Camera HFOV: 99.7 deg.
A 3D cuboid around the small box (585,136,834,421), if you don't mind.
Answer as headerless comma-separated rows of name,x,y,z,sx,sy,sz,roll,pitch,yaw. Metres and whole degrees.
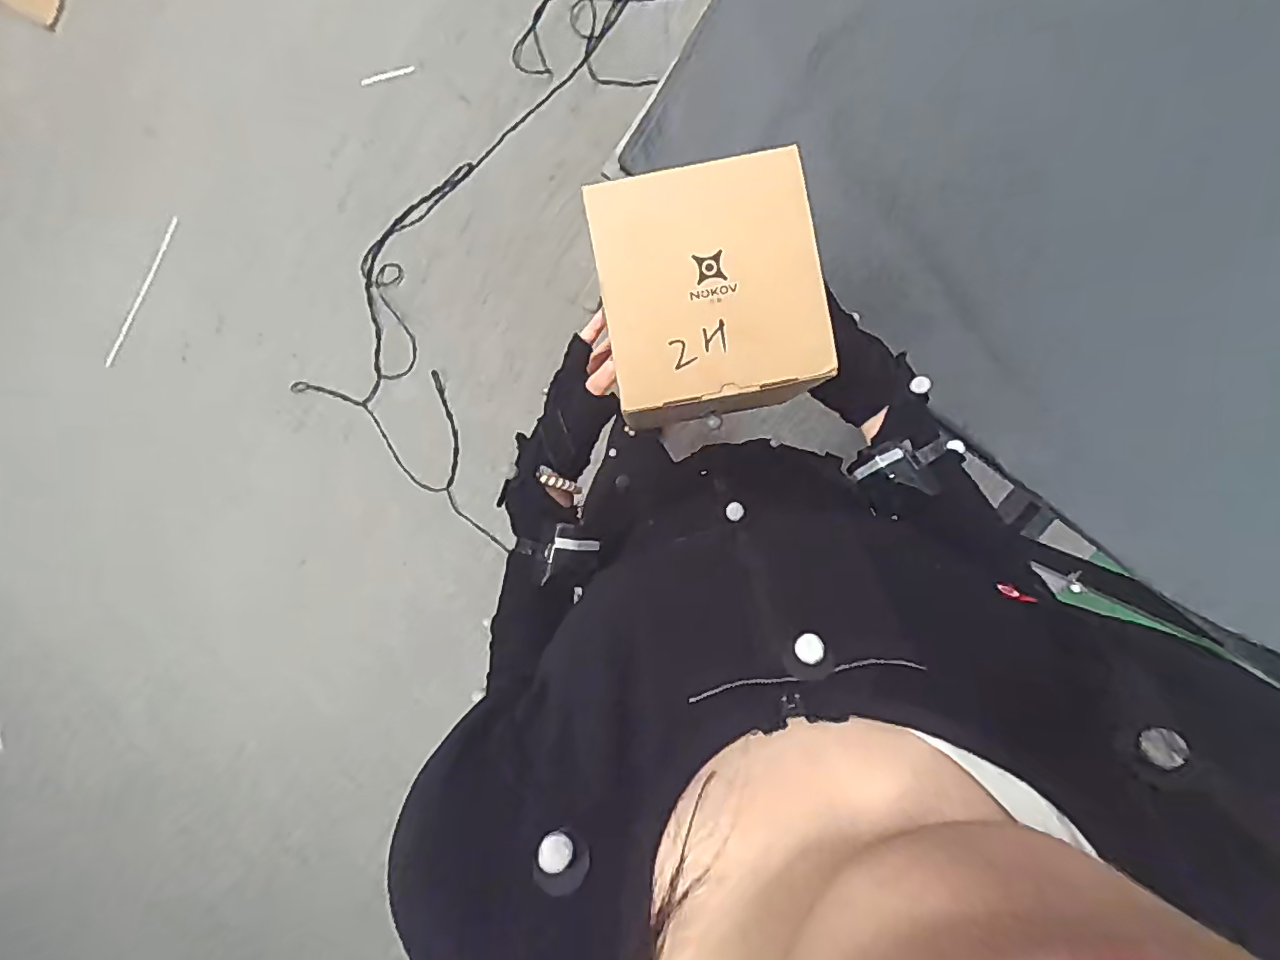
small box,0.051,-0.158,0.480,0.168,0.176,0.179,-10,91,1
